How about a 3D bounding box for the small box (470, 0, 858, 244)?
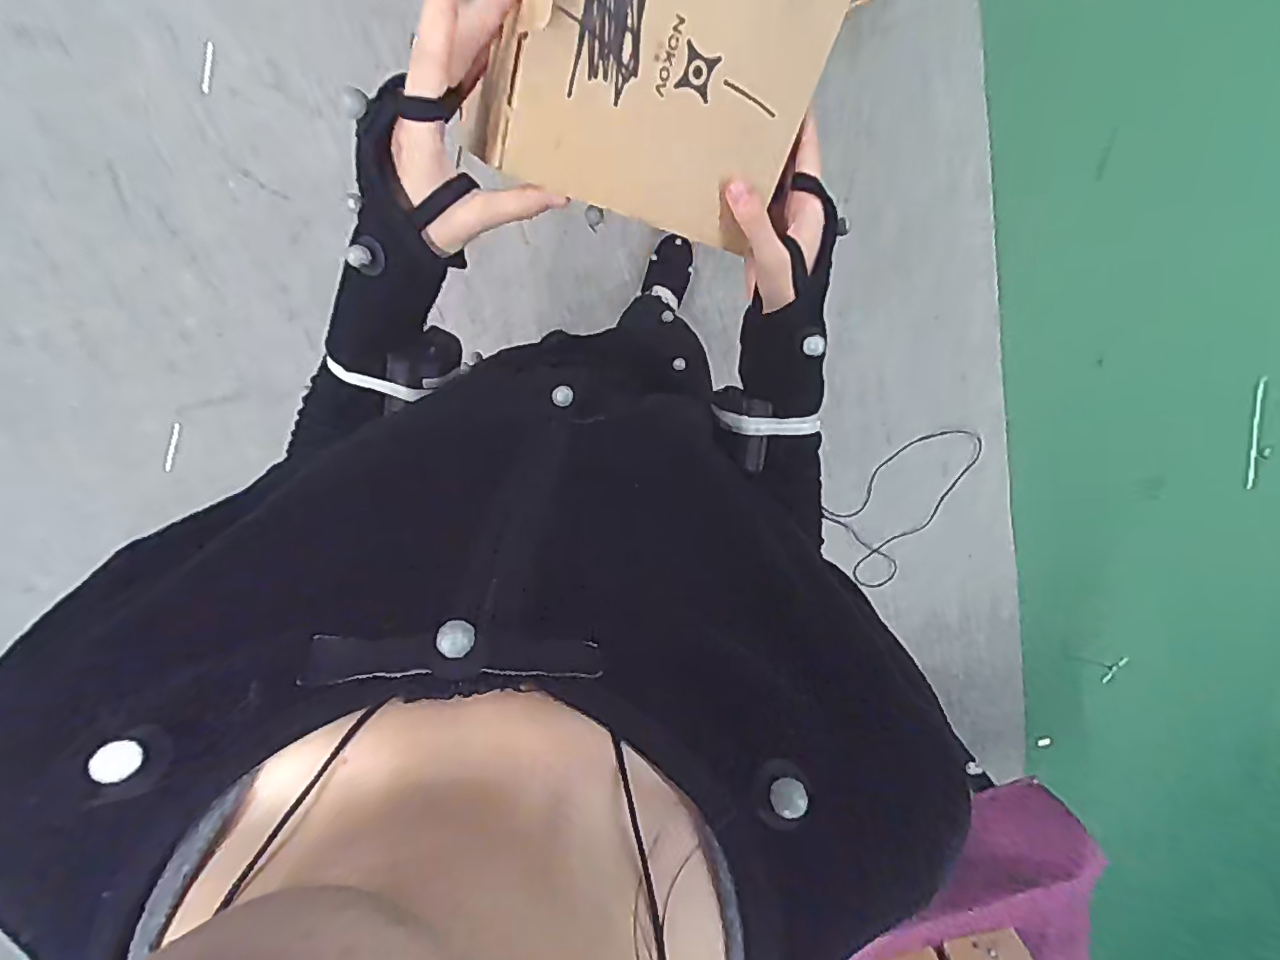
[{"bbox_3d":[0.000,-0.275,0.347,0.179,0.176,0.168,4,122,-30],"label":"small box"}]
